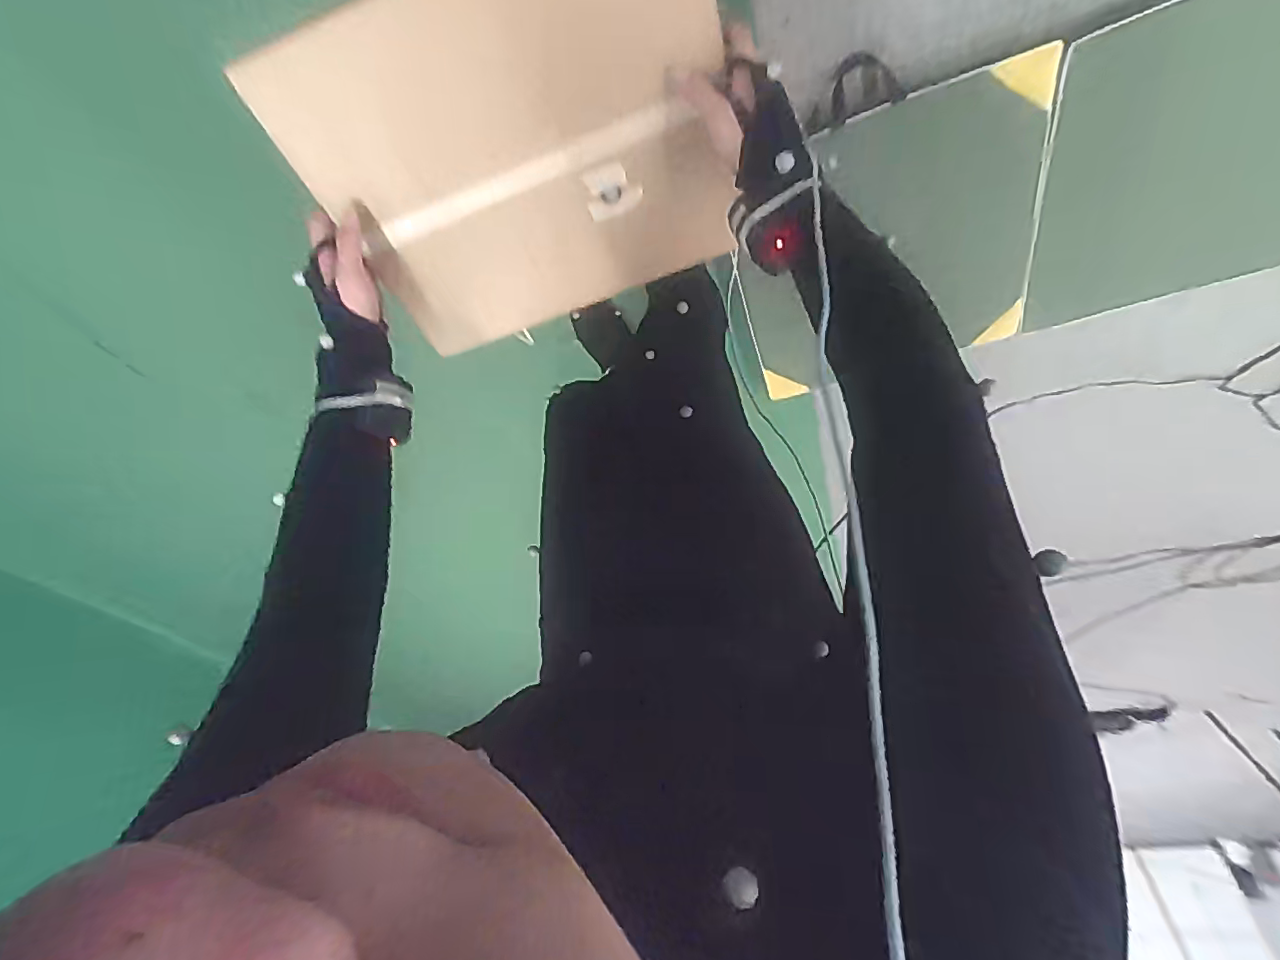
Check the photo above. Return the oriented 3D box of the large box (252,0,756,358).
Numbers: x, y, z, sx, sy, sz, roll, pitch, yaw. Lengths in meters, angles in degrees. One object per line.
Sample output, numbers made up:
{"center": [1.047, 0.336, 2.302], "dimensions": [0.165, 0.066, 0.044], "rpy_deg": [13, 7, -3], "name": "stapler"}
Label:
{"center": [-0.122, -0.413, 0.635], "dimensions": [0.408, 0.320, 0.320], "rpy_deg": [-18, 138, 8], "name": "large box"}
